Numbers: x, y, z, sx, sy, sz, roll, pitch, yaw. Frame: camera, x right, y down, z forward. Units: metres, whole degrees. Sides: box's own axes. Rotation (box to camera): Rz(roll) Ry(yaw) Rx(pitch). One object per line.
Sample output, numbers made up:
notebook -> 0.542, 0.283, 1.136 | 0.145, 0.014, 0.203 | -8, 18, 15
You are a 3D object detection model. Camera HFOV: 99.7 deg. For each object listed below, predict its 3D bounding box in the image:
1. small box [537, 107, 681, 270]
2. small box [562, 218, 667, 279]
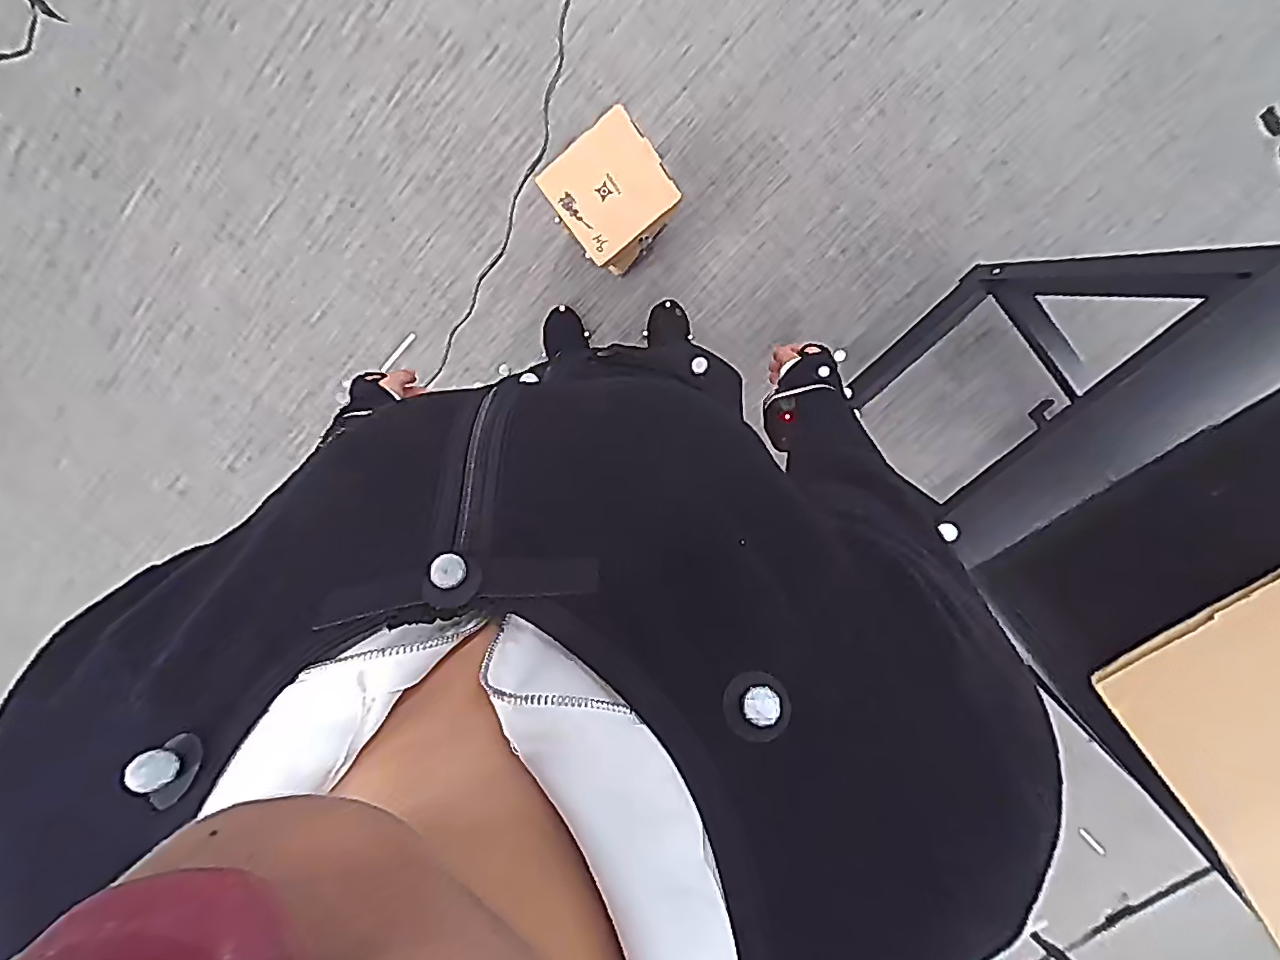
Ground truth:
small box -> -0.053, -0.485, 0.932 | 0.179, 0.176, 0.168 | -36, 106, 10
small box -> -0.058, -0.588, 1.242 | 0.168, 0.176, 0.179 | 40, 105, -12
